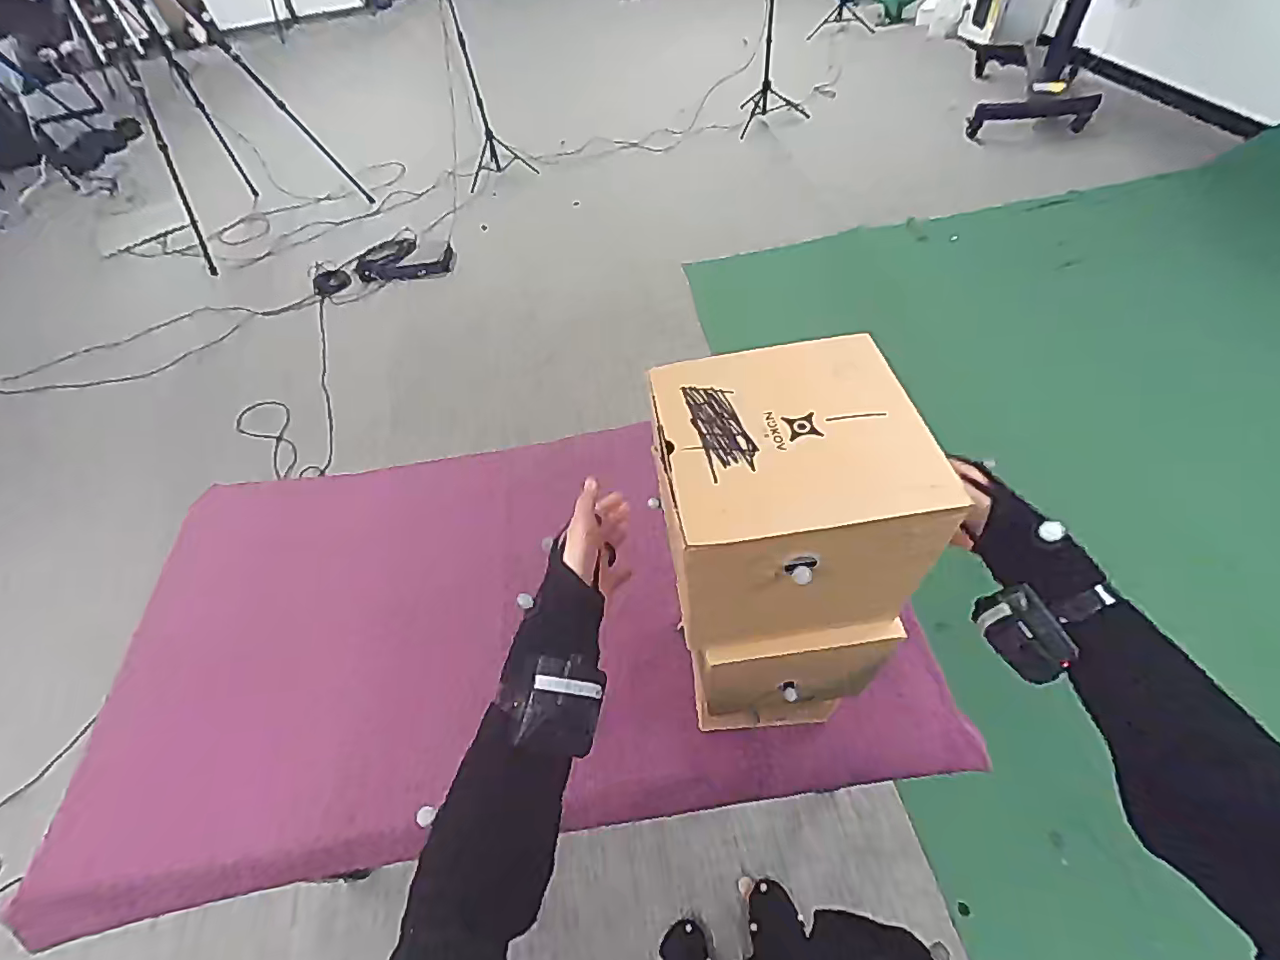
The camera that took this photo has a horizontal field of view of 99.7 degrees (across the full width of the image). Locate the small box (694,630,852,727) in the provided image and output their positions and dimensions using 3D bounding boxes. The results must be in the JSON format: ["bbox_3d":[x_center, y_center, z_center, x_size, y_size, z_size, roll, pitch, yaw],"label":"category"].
[{"bbox_3d":[0.152,0.206,0.690,0.168,0.176,0.179,-6,52,3],"label":"small box"}]

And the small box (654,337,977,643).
[{"bbox_3d":[0.110,0.015,0.424,0.179,0.176,0.168,-7,52,0],"label":"small box"}]
